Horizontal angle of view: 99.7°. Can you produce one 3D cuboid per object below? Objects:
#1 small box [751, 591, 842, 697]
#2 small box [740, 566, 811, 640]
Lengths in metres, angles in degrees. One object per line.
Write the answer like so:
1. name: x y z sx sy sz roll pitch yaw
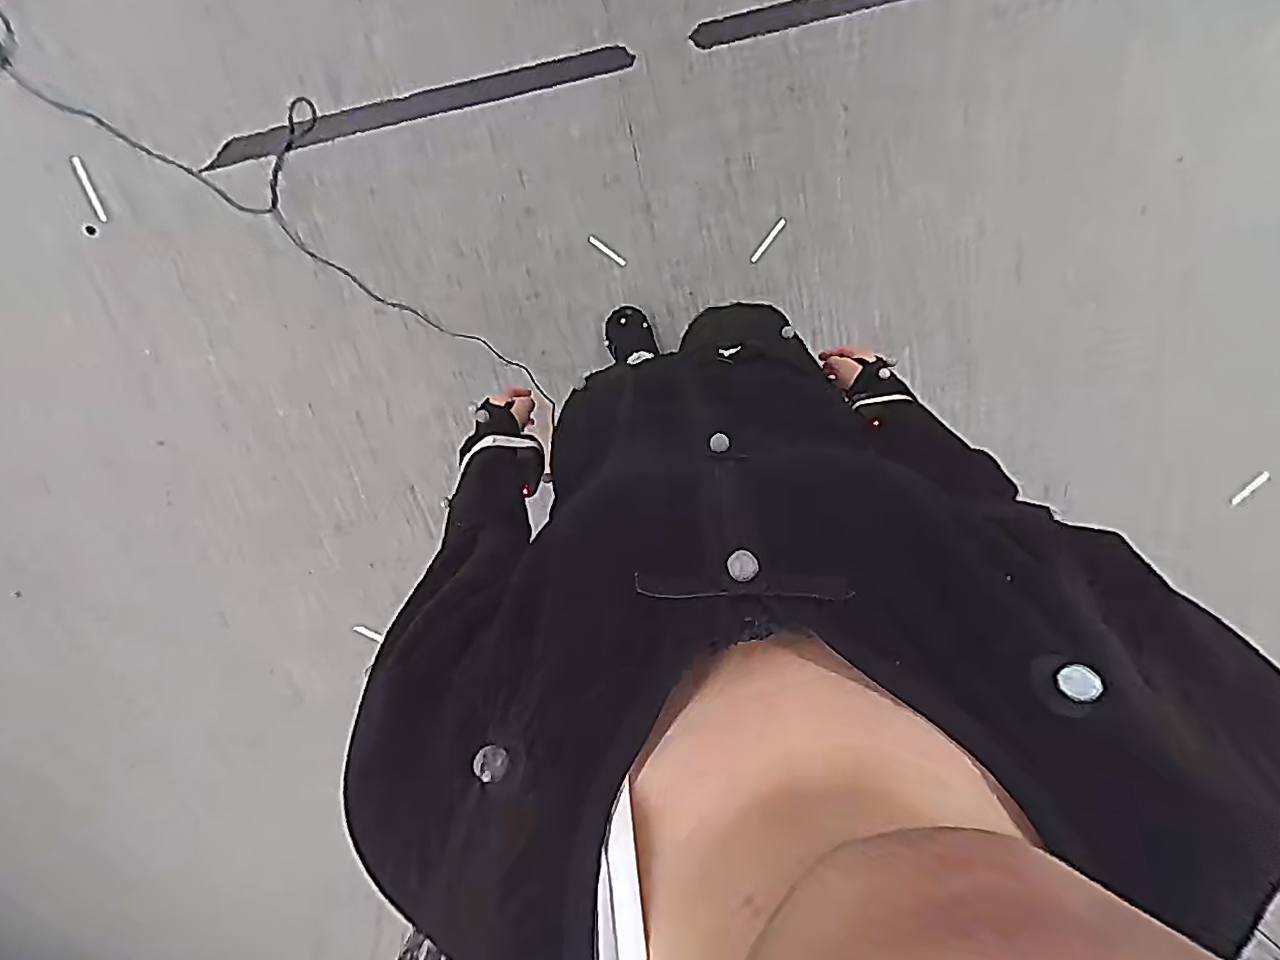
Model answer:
1. small box: 0.400 0.417 1.395 0.168 0.176 0.179 -18 108 4
2. small box: 0.396 0.364 1.550 0.168 0.176 0.179 -16 108 4
